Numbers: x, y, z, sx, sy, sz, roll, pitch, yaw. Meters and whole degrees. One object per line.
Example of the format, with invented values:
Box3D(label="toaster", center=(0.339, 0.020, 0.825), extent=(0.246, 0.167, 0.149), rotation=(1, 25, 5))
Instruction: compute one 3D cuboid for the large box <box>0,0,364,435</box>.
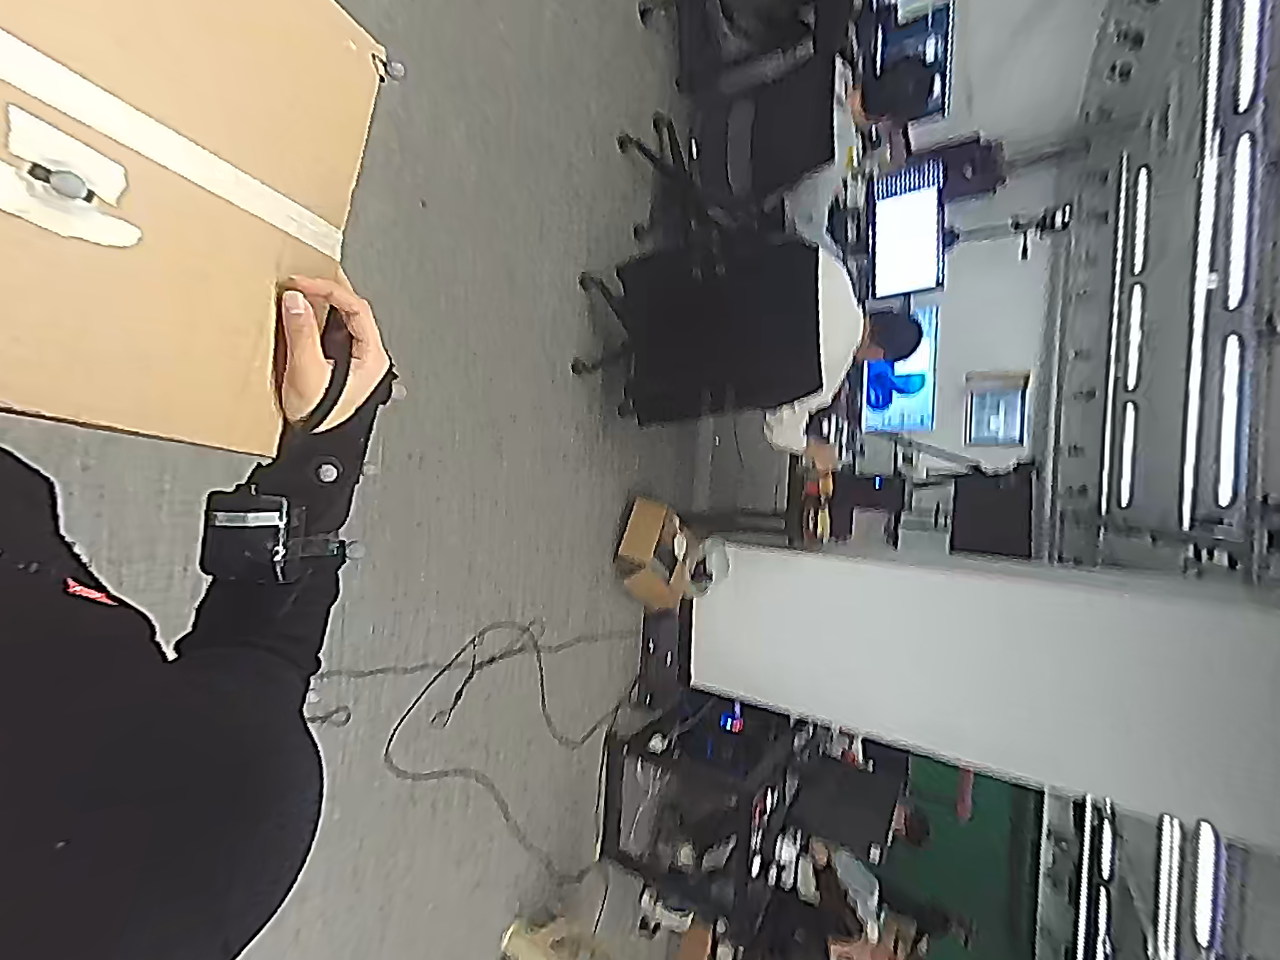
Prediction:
Box3D(label="large box", center=(-0.448, -0.221, 0.285), extent=(0.408, 0.320, 0.320), rotation=(17, 83, -63))
